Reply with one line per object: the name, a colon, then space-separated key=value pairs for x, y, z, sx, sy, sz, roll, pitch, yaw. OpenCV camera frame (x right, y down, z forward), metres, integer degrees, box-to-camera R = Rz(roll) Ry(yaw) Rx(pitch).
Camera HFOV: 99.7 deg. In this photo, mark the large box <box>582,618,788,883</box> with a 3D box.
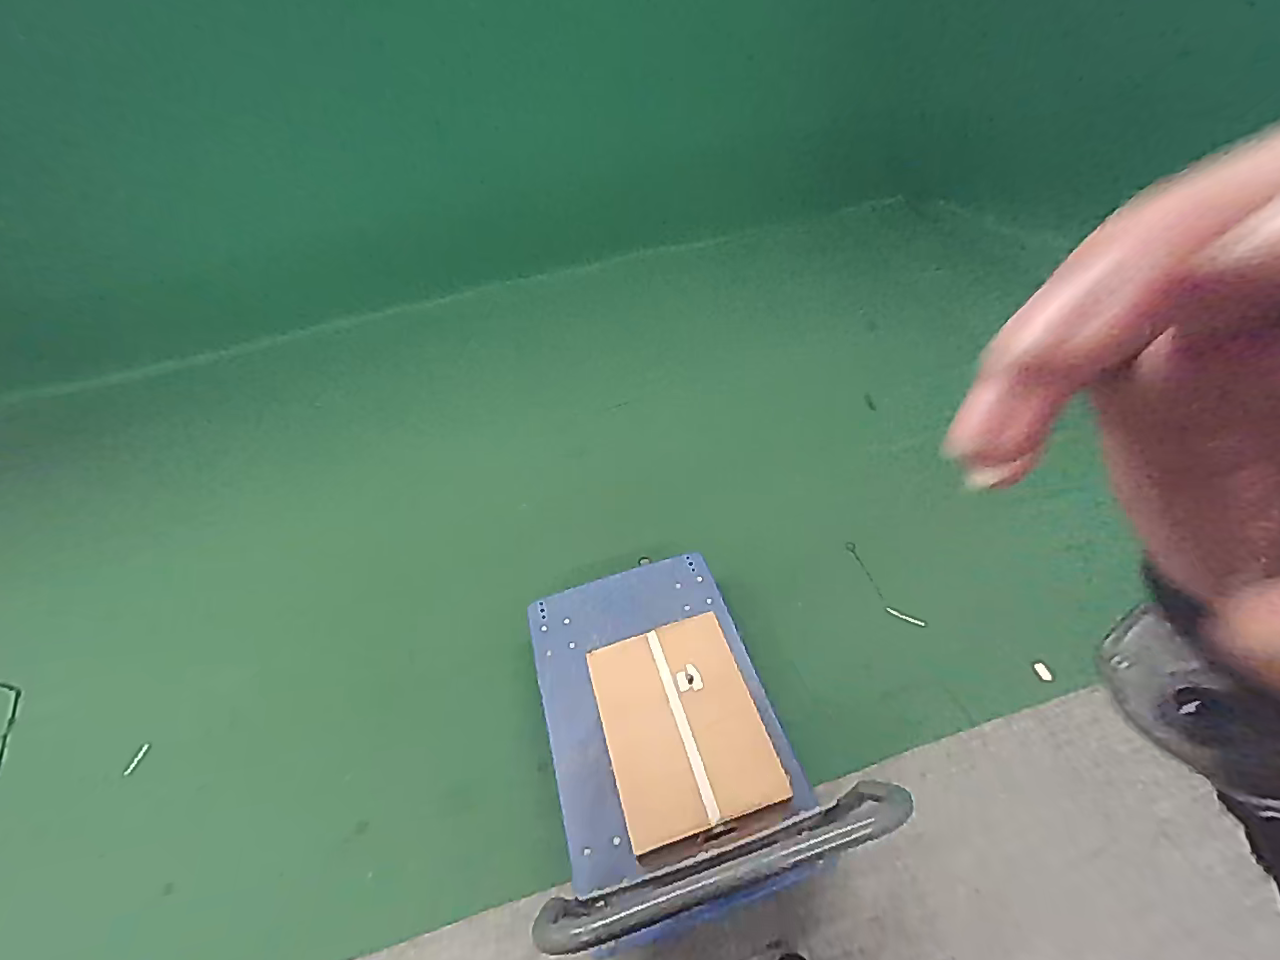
large box: x=0.089 y=0.599 z=1.219 sx=0.320 sy=0.320 sz=0.408 roll=-16 pitch=47 yaw=-8
